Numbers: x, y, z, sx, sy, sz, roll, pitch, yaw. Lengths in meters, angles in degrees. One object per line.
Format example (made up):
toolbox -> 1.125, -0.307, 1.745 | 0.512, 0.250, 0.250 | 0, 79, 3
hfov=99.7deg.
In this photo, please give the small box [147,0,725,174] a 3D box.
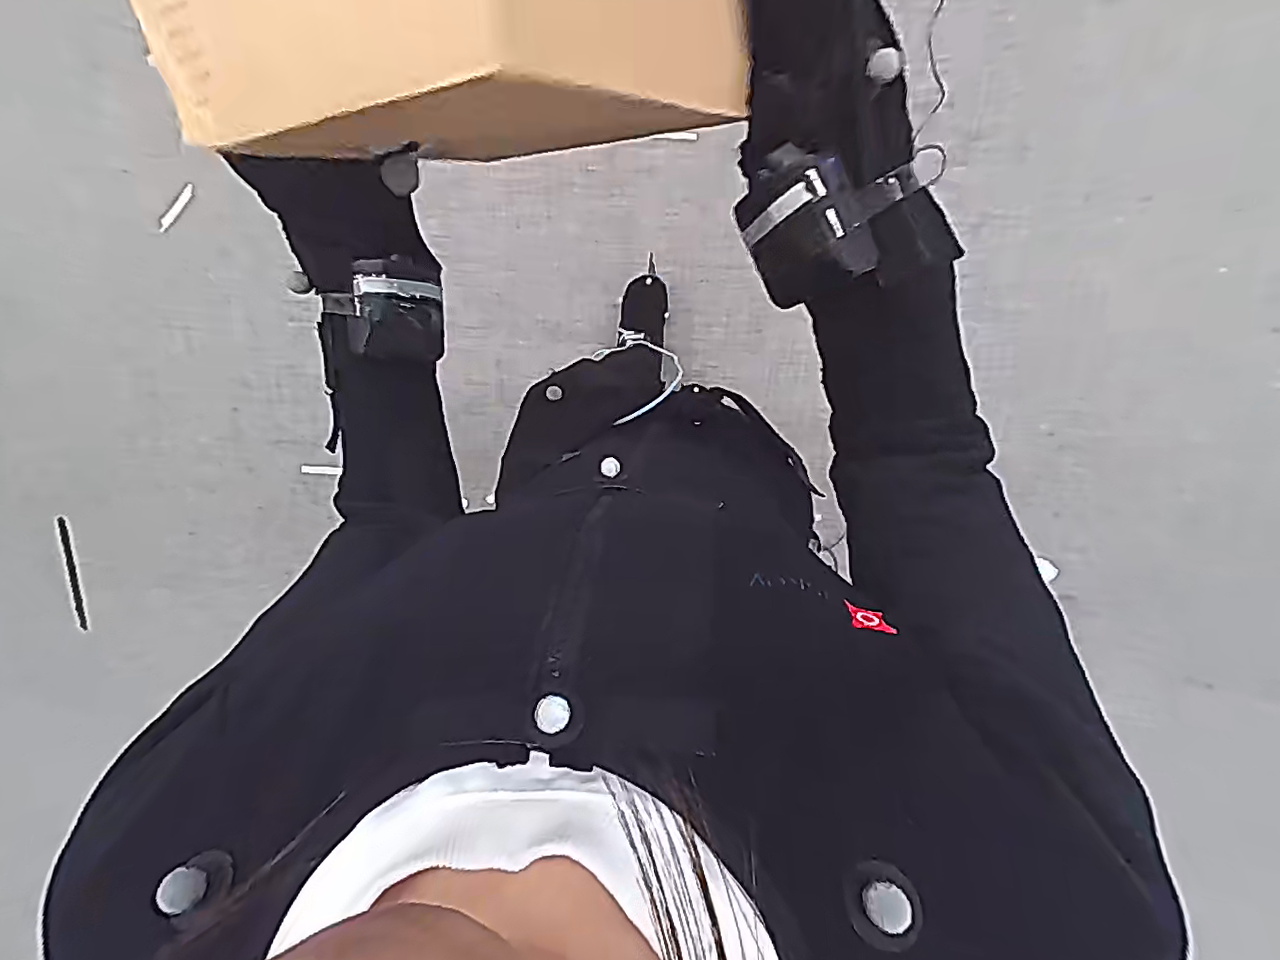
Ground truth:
small box -> -0.079, -0.229, 0.208 | 0.176, 0.168, 0.179 | 11, 121, 30
